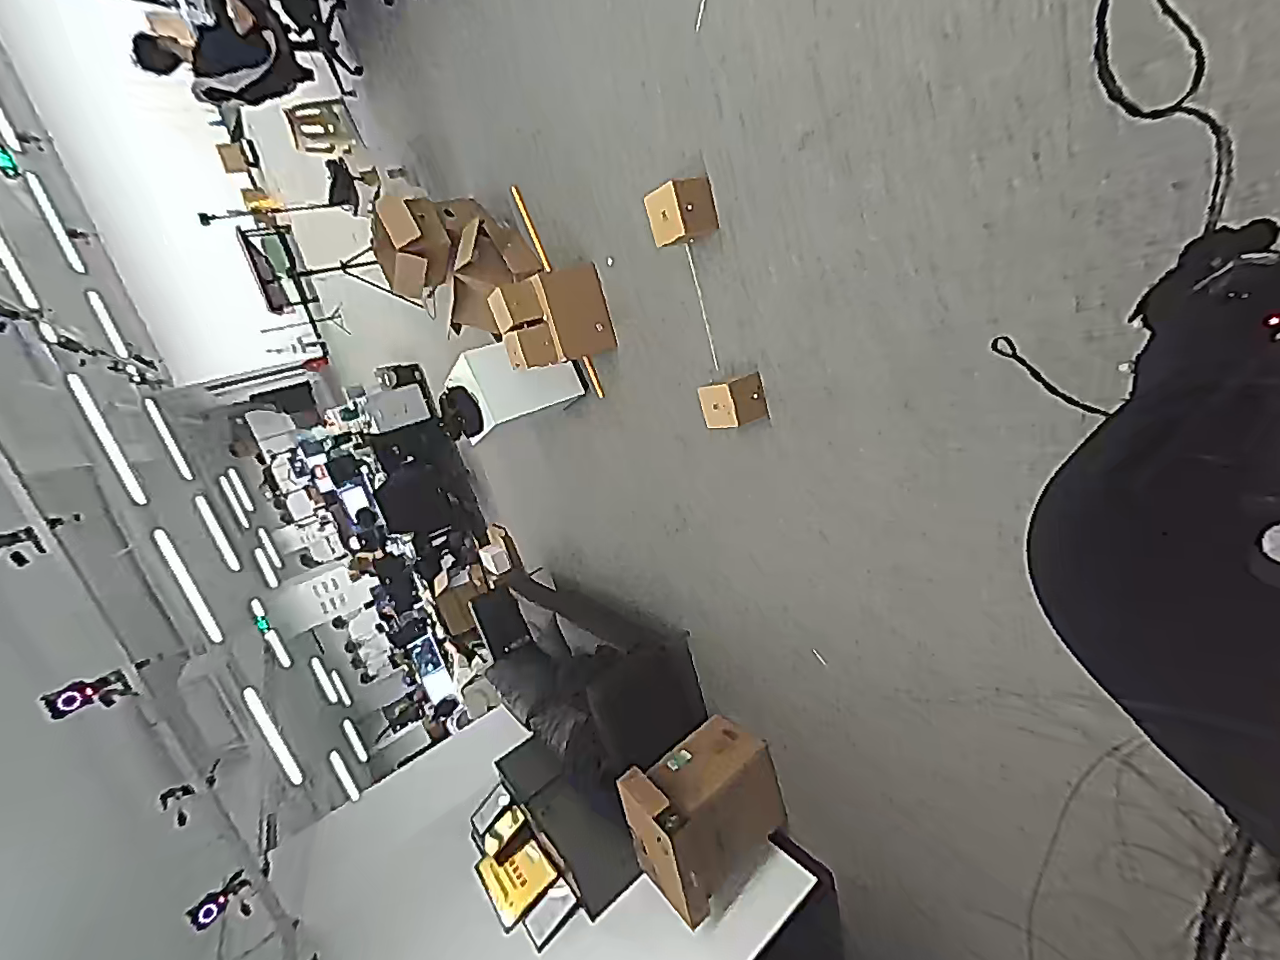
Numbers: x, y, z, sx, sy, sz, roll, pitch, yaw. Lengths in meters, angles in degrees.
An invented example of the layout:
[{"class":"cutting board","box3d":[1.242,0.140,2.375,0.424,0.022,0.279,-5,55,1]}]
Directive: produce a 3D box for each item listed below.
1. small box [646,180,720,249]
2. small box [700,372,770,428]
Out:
[{"class":"small box","box3d":[0.154,-0.936,1.899,0.168,0.176,0.179,4,117,56]},{"class":"small box","box3d":[0.363,-0.303,2.057,0.179,0.176,0.168,5,117,56]}]
